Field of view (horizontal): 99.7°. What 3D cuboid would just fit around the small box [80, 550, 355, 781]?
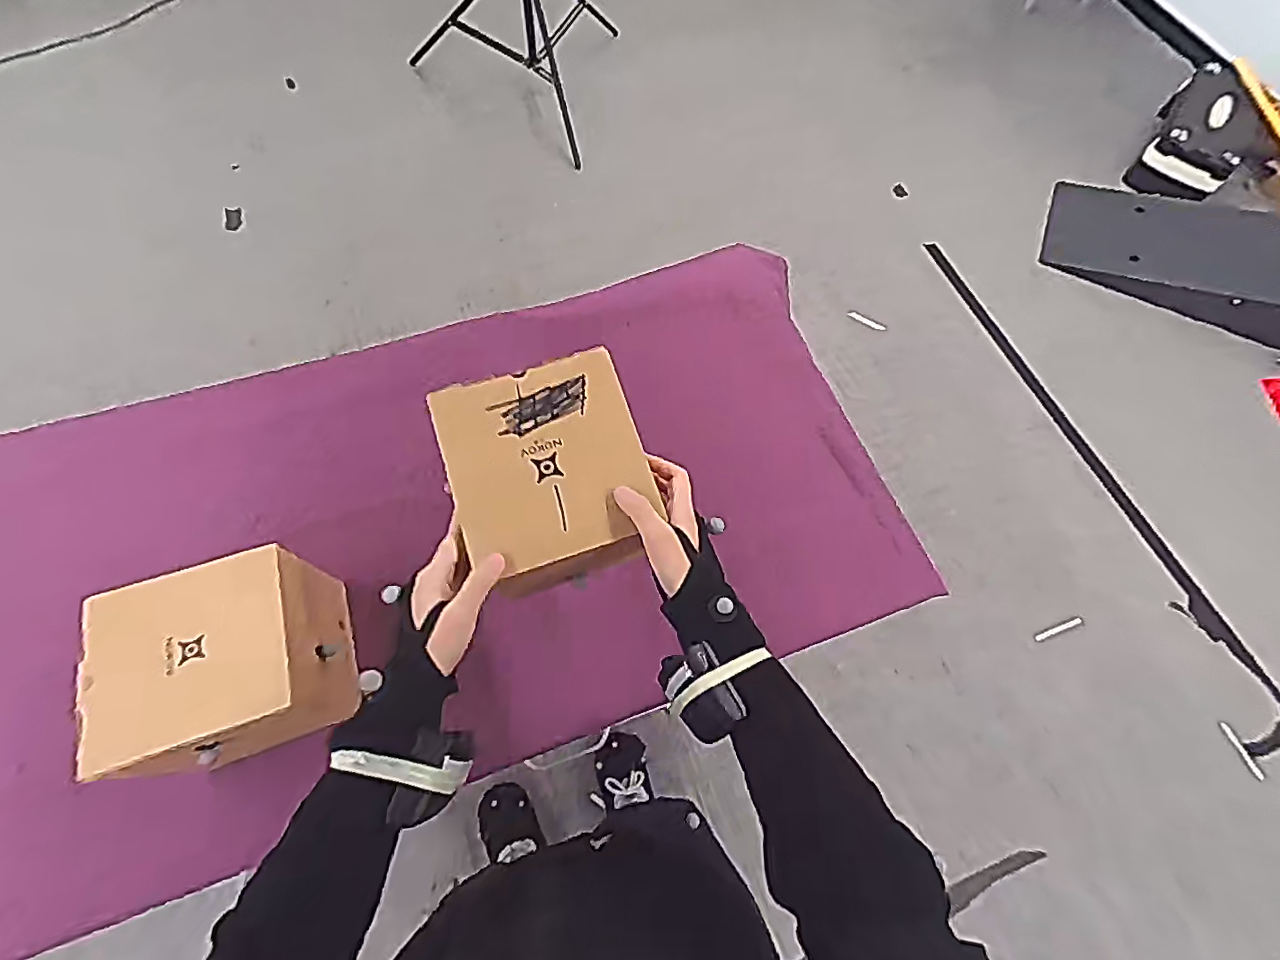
[{"bbox_3d":[-0.428,0.195,0.579,0.179,0.176,0.168,-18,68,-11],"label":"small box"}]

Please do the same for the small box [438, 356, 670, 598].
[{"bbox_3d":[-0.083,0.007,0.546,0.168,0.176,0.179,-18,76,-9],"label":"small box"}]
